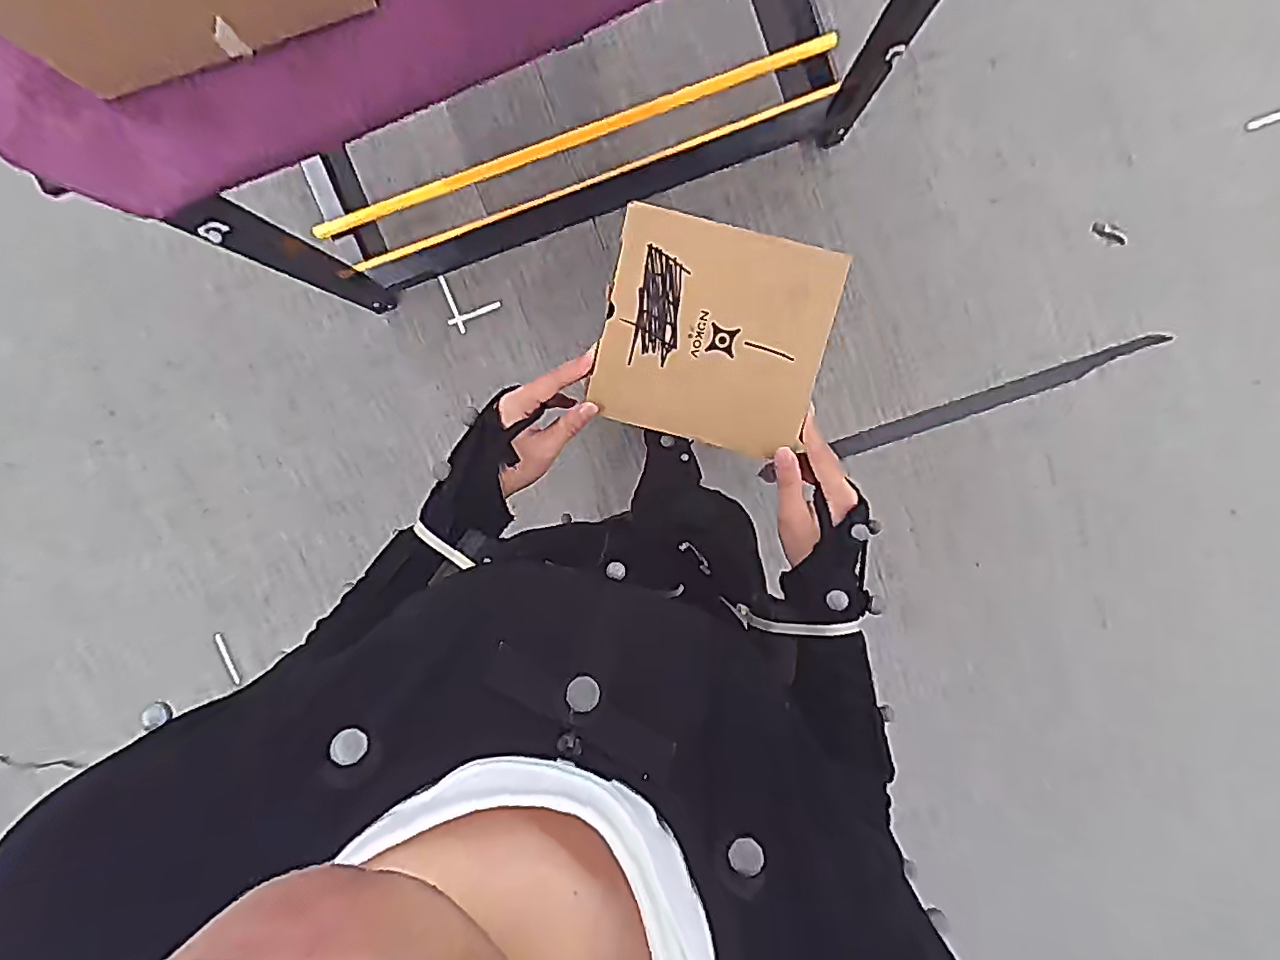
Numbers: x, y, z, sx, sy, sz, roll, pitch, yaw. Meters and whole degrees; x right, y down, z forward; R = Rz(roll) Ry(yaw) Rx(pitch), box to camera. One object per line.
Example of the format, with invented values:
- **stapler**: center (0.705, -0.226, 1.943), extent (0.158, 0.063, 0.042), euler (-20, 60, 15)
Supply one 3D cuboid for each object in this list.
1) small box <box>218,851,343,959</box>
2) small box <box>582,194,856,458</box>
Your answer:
- **small box**: center (-0.888, 1.073, 1.353), extent (0.168, 0.176, 0.179), euler (-18, 96, 2)
- **small box**: center (0.060, -0.125, 0.490), extent (0.179, 0.176, 0.168), euler (14, 98, 0)
